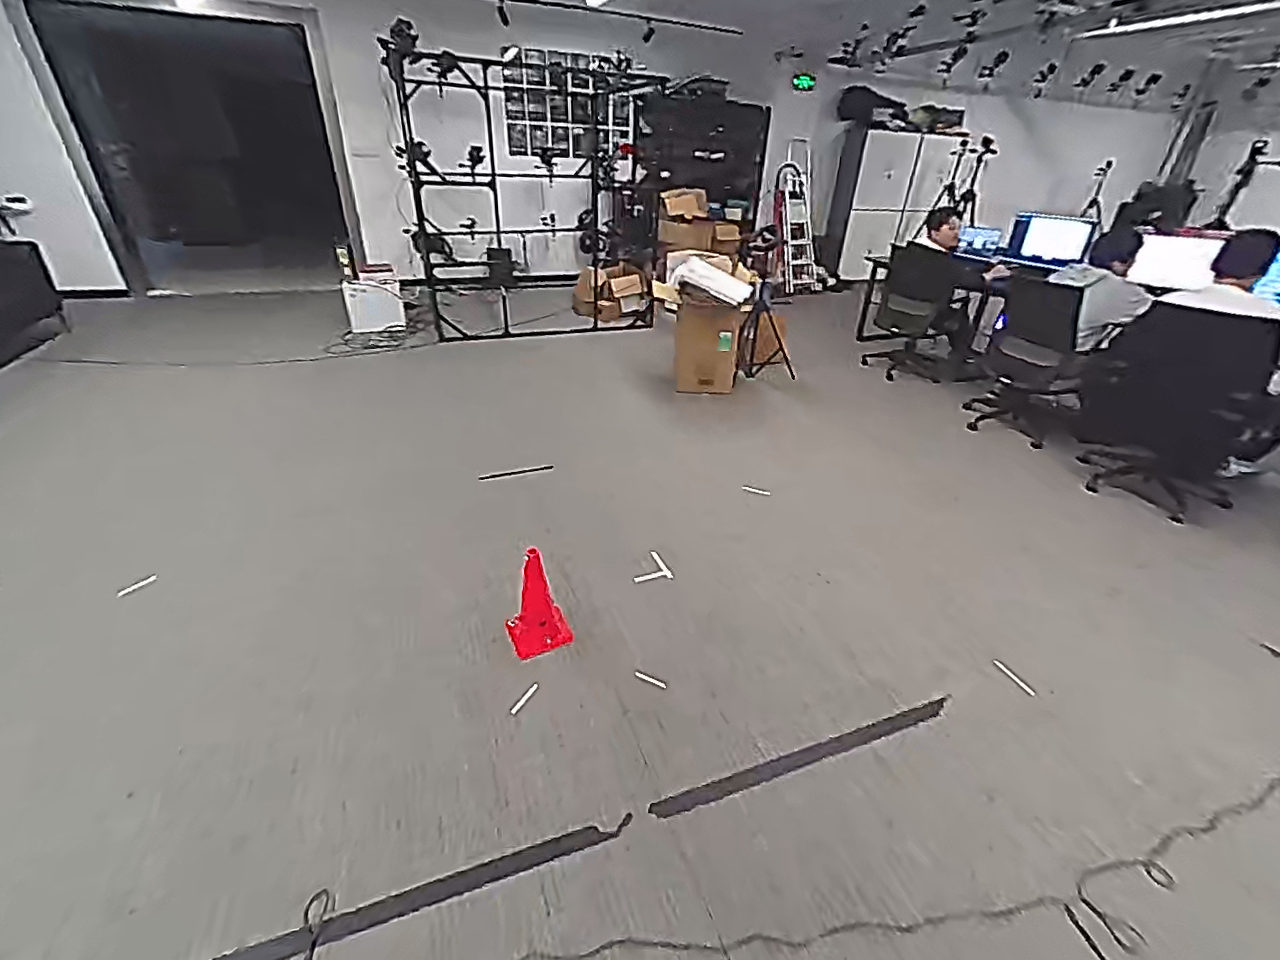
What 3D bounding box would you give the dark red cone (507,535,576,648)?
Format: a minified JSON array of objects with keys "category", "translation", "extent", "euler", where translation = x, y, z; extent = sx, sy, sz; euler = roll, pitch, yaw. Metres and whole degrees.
[{"category":"dark red cone","translation":[-0.335,0.349,1.780],"extent":[0.202,0.394,0.201],"euler":[-14,35,-25]}]
